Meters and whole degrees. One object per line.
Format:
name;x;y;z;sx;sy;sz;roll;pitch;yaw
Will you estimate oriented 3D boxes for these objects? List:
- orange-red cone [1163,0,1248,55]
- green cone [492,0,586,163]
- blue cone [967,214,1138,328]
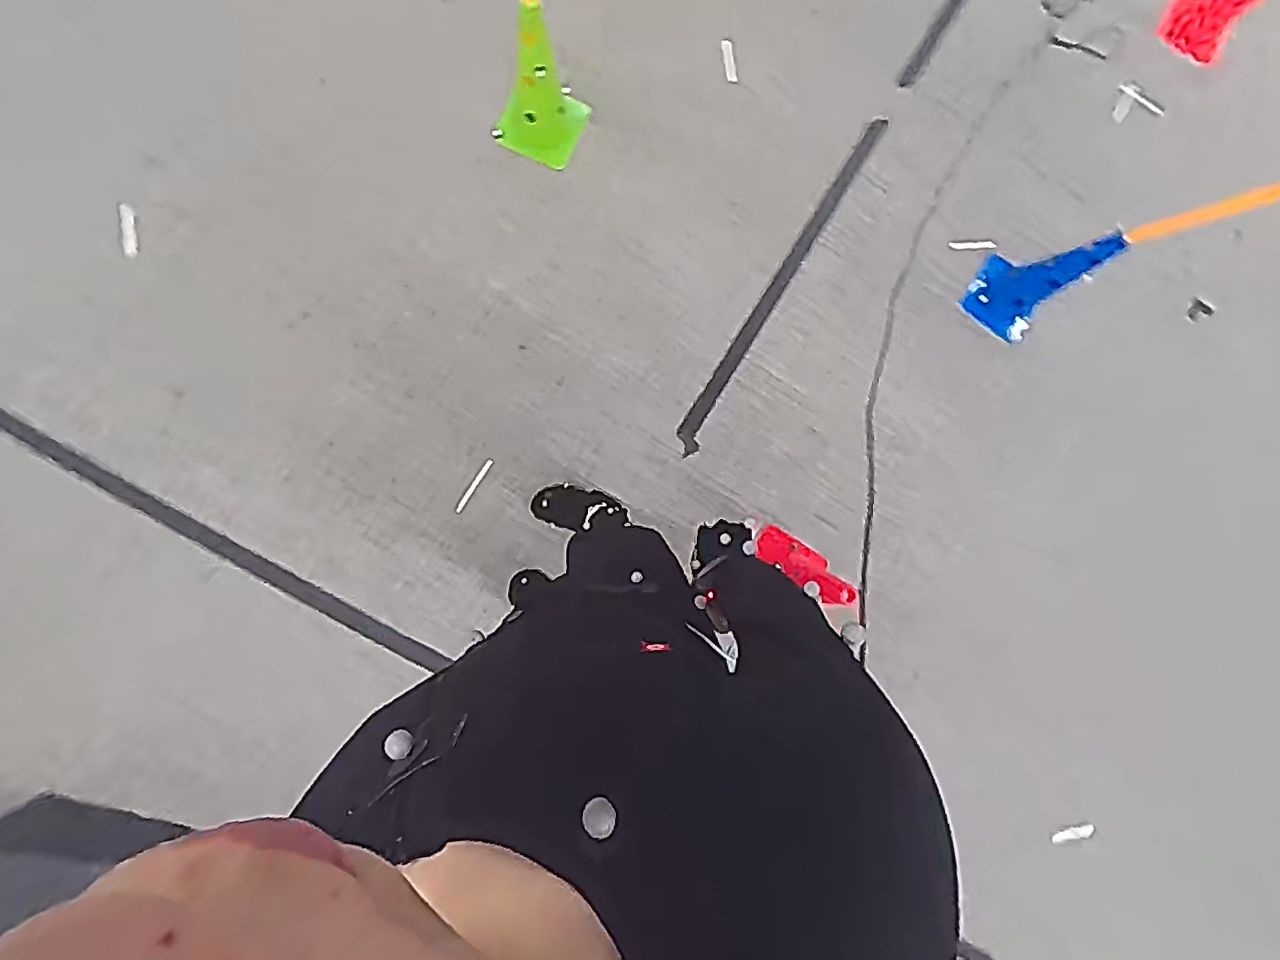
orange-red cone;1.729;-1.433;1.492;0.199;0.360;0.198;26;84;-3
green cone;-0.239;-0.953;1.236;0.200;0.368;0.202;21;83;-5
blue cone;1.058;-0.554;1.380;0.193;0.380;0.192;34;83;-4
